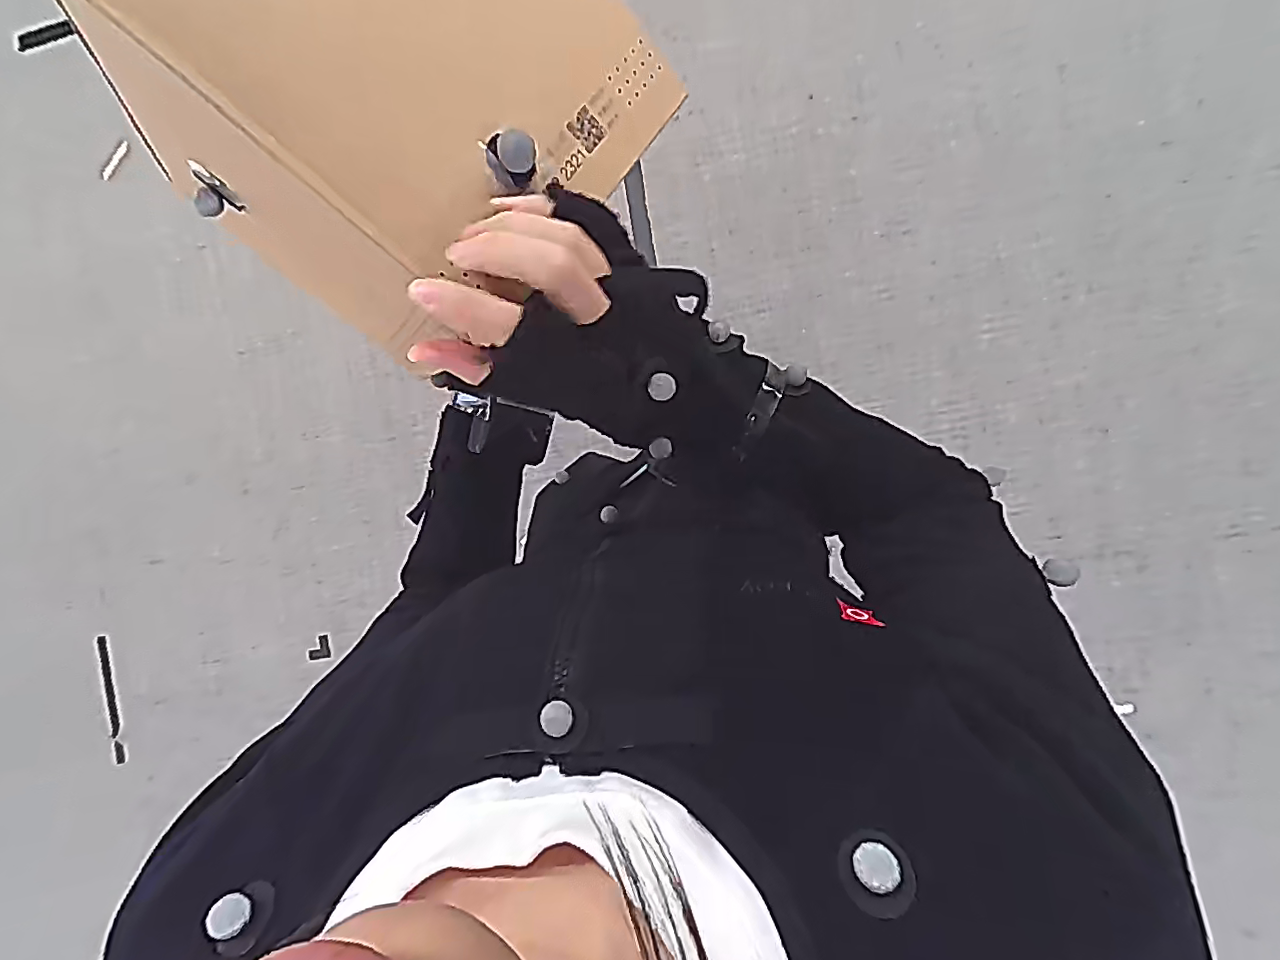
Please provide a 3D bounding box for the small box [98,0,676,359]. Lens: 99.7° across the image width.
[{"bbox_3d":[-0.116,-0.184,0.298,0.176,0.179,0.168,39,75,-27],"label":"small box"}]
